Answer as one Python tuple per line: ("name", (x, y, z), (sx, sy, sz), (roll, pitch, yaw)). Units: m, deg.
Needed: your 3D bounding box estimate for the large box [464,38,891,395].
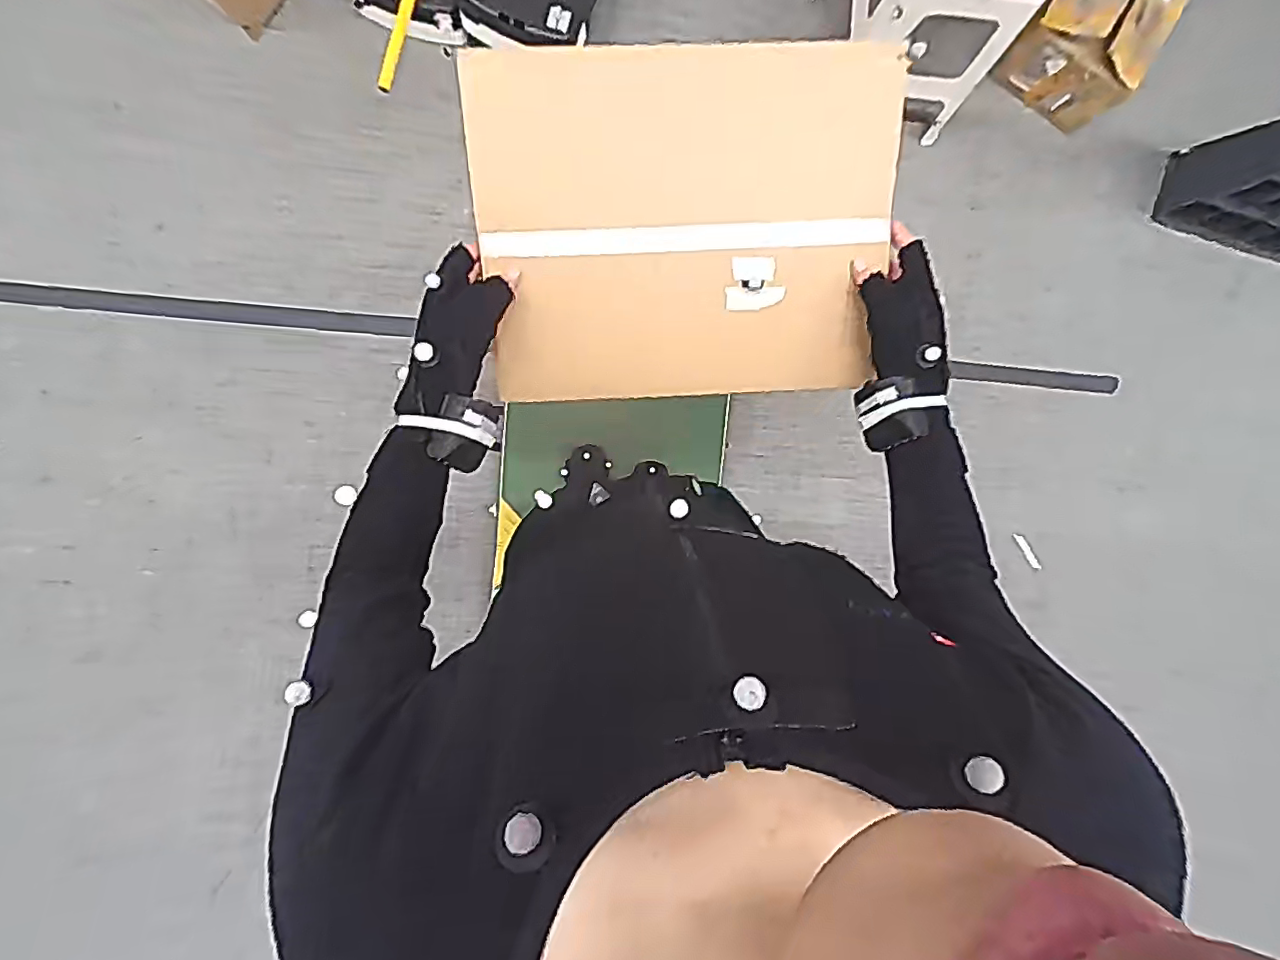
("large box", (0.035, -0.298, 0.682), (0.408, 0.320, 0.320), (-4, 110, -2))
